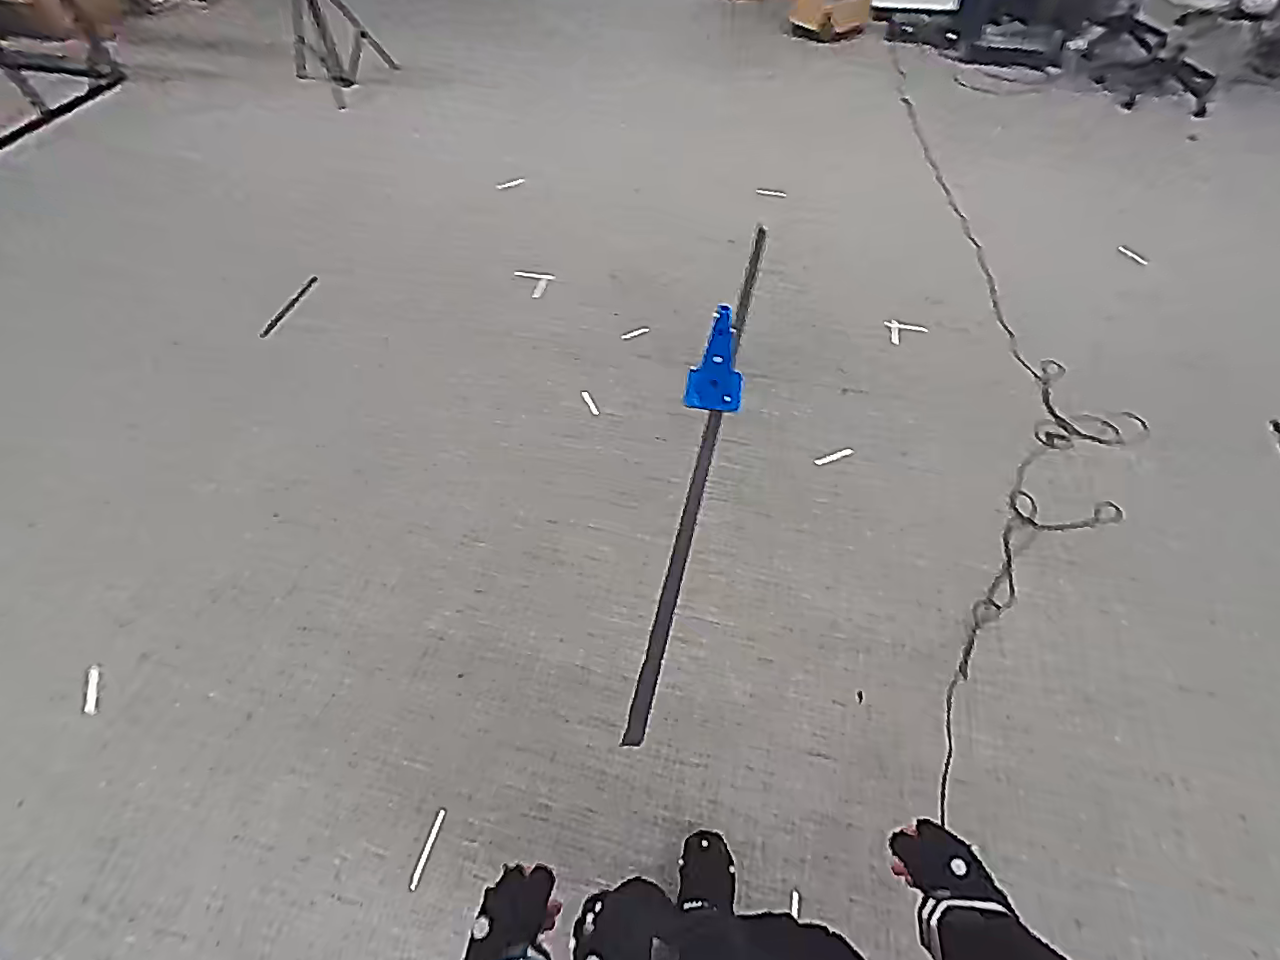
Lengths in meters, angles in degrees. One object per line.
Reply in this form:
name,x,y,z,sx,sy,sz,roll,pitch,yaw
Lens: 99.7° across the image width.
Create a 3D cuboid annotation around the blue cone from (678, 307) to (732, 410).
blue cone,0.234,-0.423,1.835,0.192,0.380,0.193,8,56,7
